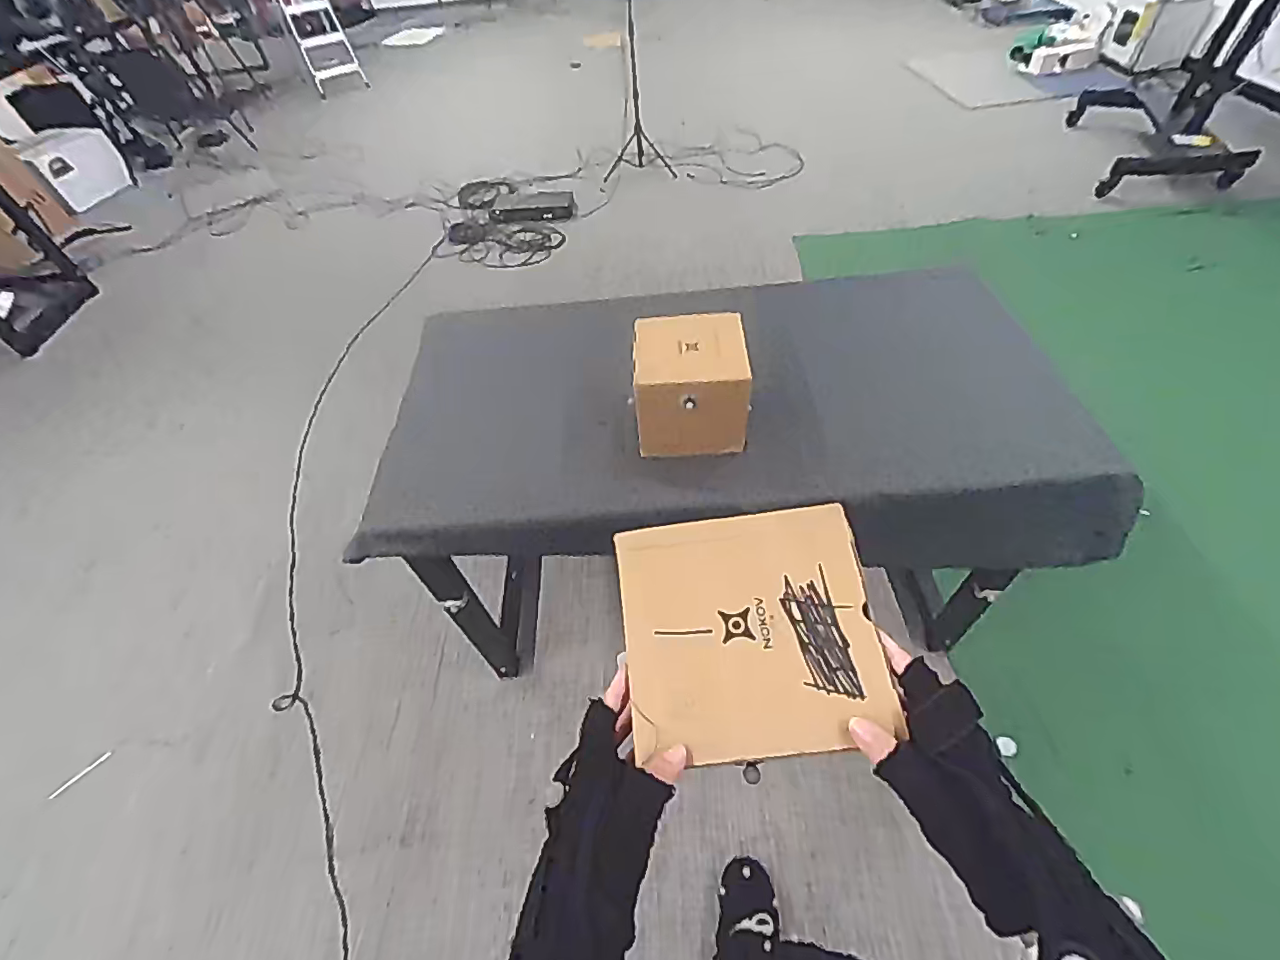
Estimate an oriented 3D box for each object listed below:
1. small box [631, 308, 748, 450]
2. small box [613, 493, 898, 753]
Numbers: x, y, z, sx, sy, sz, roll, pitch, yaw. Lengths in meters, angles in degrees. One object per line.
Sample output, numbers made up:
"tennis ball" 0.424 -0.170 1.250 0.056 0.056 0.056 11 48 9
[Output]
"small box" 0.080 -0.163 0.904 0.179 0.176 0.168 -3 52 3
"small box" 0.079 0.126 0.452 0.179 0.176 0.168 -8 63 2
